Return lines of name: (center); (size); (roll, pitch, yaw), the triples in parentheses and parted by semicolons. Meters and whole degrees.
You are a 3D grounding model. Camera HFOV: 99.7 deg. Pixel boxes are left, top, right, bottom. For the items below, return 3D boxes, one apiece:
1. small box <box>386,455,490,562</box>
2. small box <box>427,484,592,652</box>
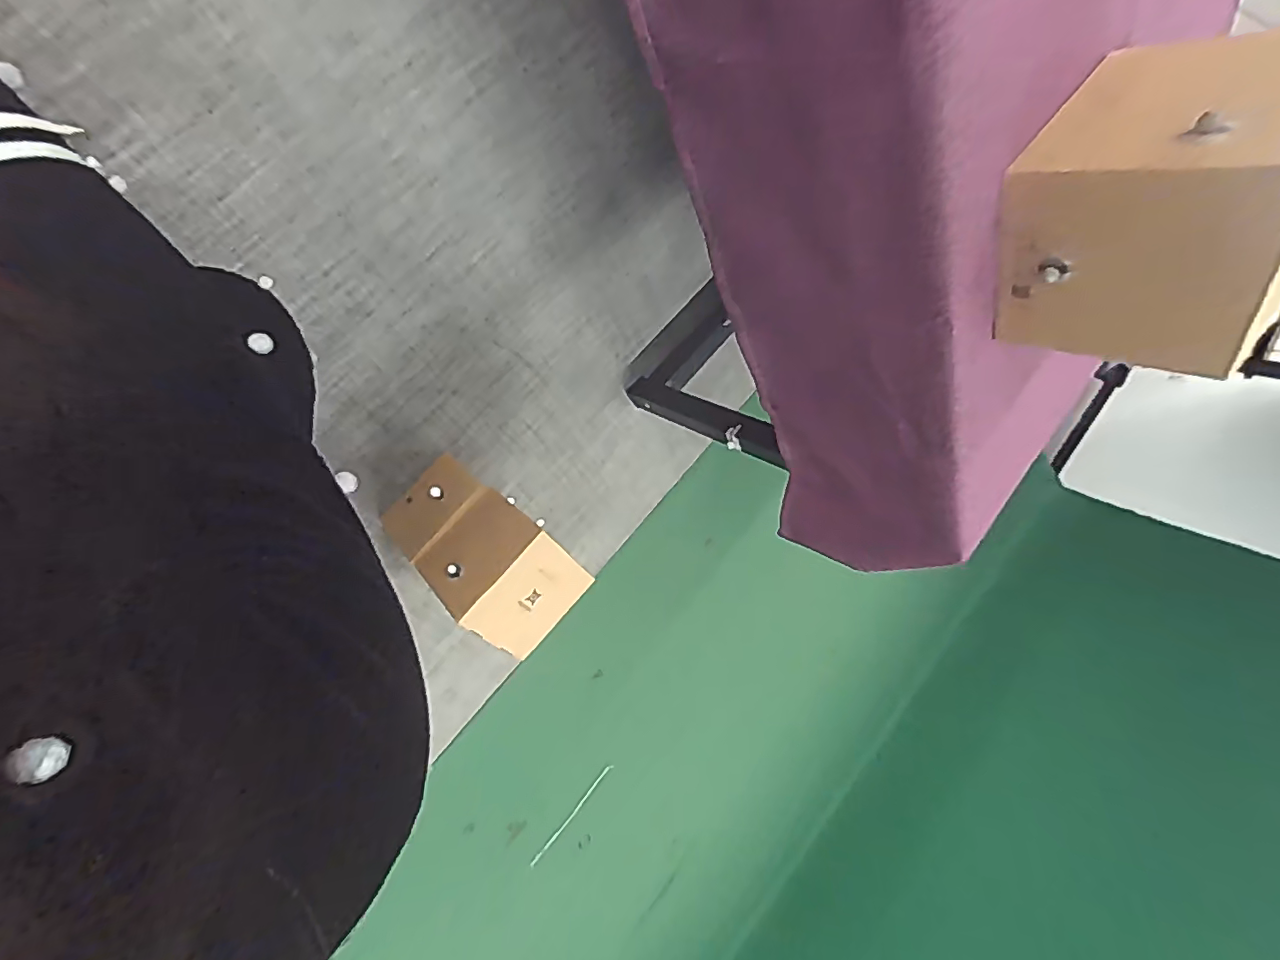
small box: (-0.326, 0.073, 0.988); (0.168, 0.176, 0.179); (-50, 136, -10)
small box: (-0.219, 0.138, 0.883); (0.179, 0.176, 0.168); (-48, 138, -12)
